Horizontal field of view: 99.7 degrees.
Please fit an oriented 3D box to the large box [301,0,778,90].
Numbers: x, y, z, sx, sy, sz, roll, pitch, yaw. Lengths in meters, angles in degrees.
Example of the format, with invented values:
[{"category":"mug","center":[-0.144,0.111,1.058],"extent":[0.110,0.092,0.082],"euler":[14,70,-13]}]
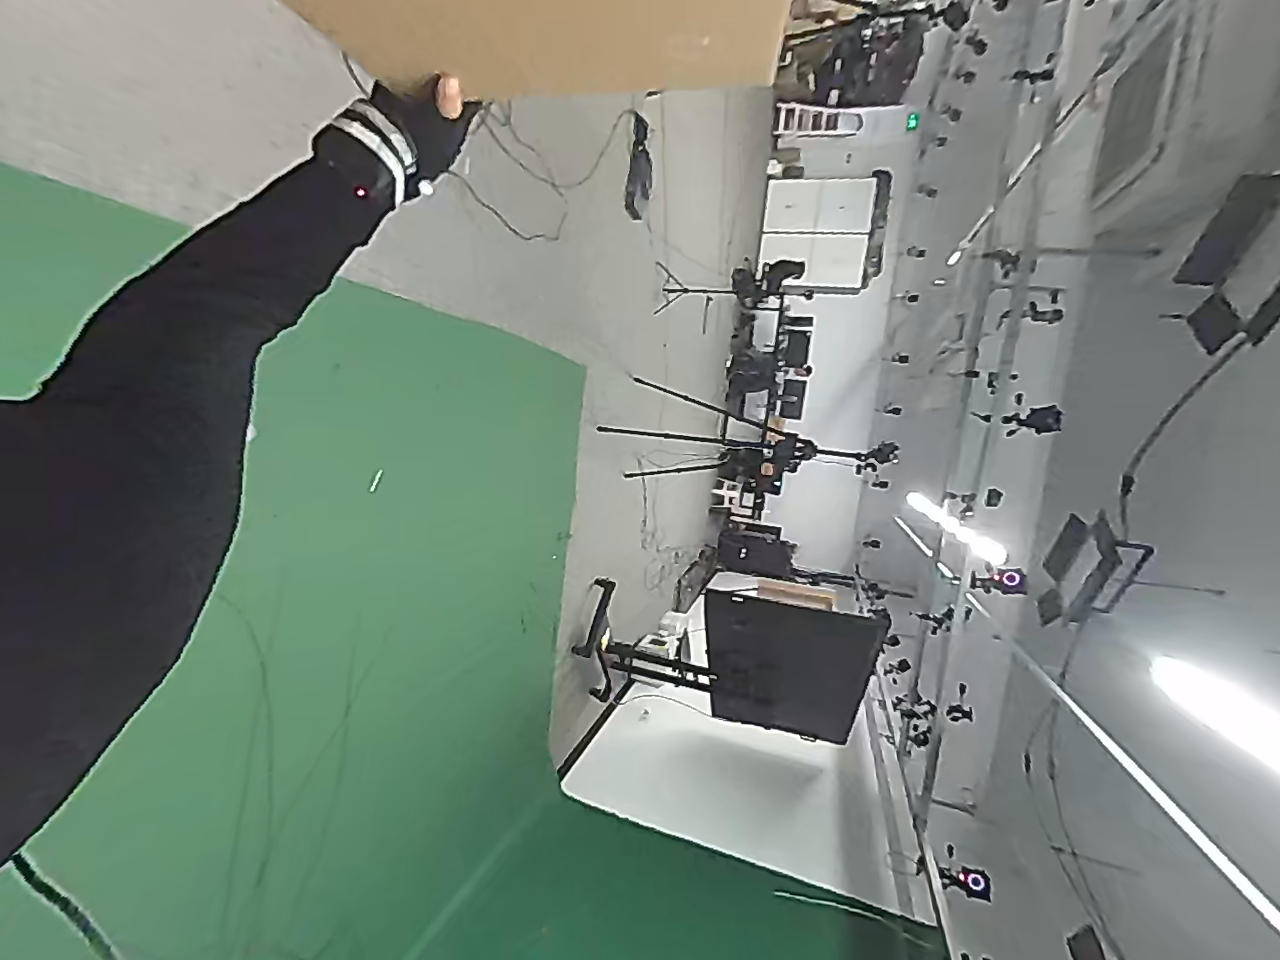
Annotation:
[{"category":"large box","center":[-0.074,-0.424,0.226],"extent":[0.408,0.320,0.320],"euler":[-68,160,-74]}]
